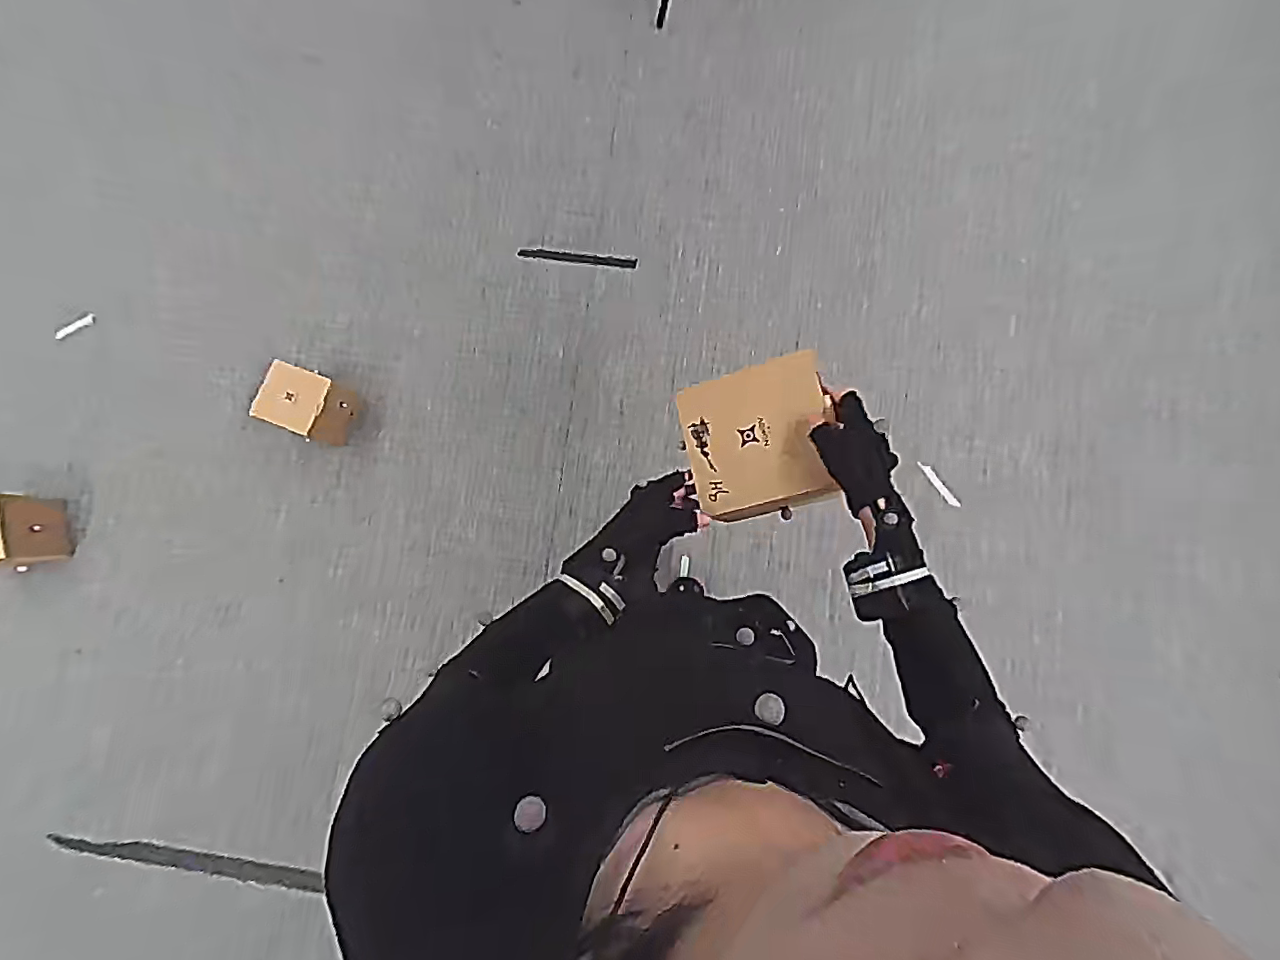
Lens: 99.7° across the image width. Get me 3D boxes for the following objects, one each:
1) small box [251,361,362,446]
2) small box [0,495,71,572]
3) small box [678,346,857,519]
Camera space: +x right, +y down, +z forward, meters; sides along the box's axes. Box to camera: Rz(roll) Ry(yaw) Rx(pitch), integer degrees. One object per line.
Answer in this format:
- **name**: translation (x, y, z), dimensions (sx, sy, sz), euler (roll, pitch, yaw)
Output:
- **small box**: translation (-0.918, -0.203, 1.508), dimensions (0.179, 0.176, 0.168), euler (20, 82, 4)
- **small box**: translation (-1.715, 0.150, 1.465), dimensions (0.168, 0.176, 0.179), euler (-15, 84, -1)
- **small box**: translation (0.169, -0.048, 0.703), dimensions (0.179, 0.176, 0.168), euler (-16, 78, 18)
